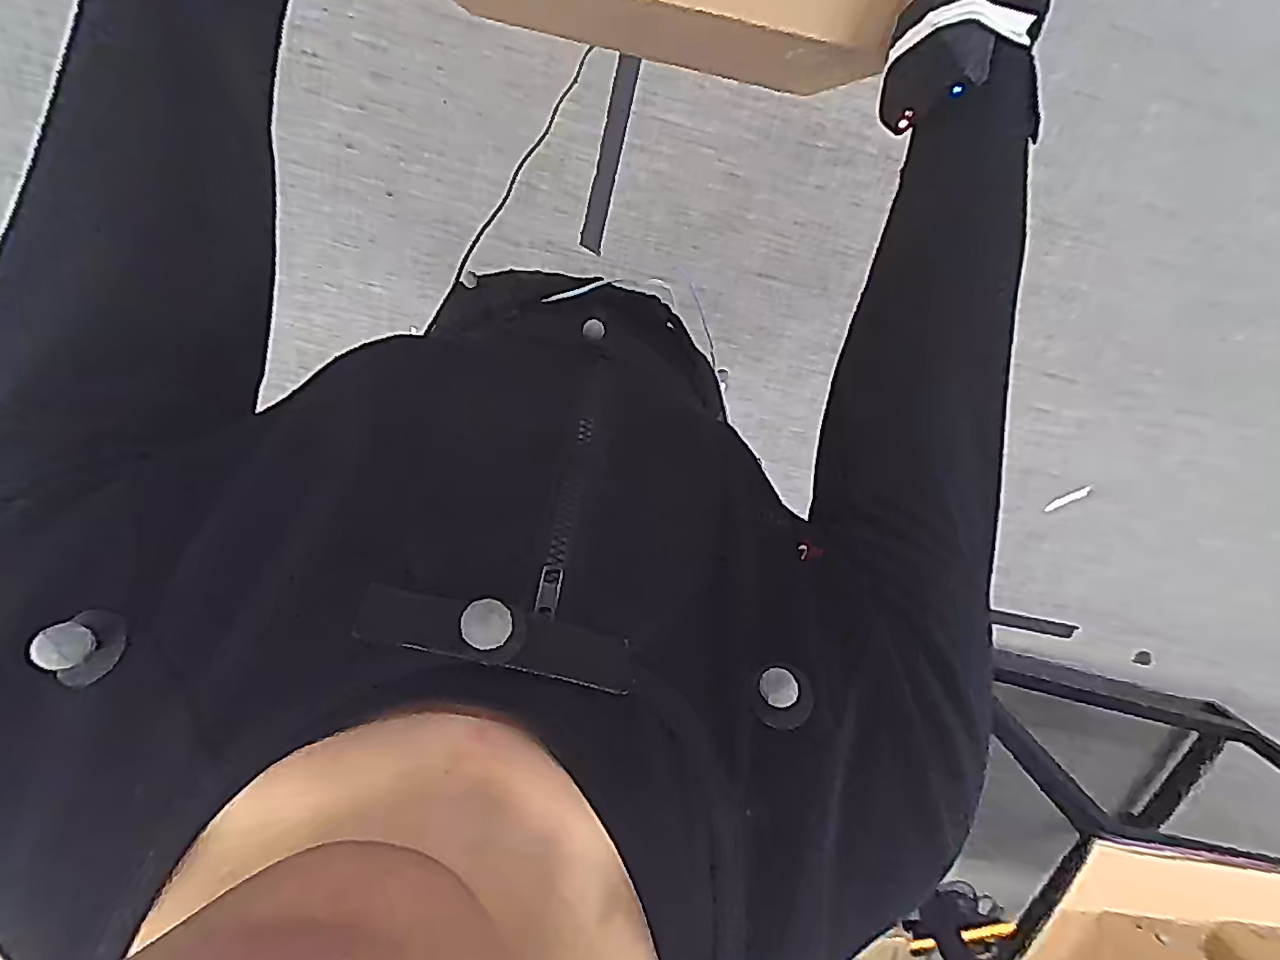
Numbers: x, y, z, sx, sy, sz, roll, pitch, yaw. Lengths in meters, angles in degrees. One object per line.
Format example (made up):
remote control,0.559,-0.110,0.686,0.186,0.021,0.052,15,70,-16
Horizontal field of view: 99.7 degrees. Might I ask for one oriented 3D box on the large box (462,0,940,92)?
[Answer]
large box,0.036,-0.543,0.425,0.408,0.320,0.320,10,122,-5
